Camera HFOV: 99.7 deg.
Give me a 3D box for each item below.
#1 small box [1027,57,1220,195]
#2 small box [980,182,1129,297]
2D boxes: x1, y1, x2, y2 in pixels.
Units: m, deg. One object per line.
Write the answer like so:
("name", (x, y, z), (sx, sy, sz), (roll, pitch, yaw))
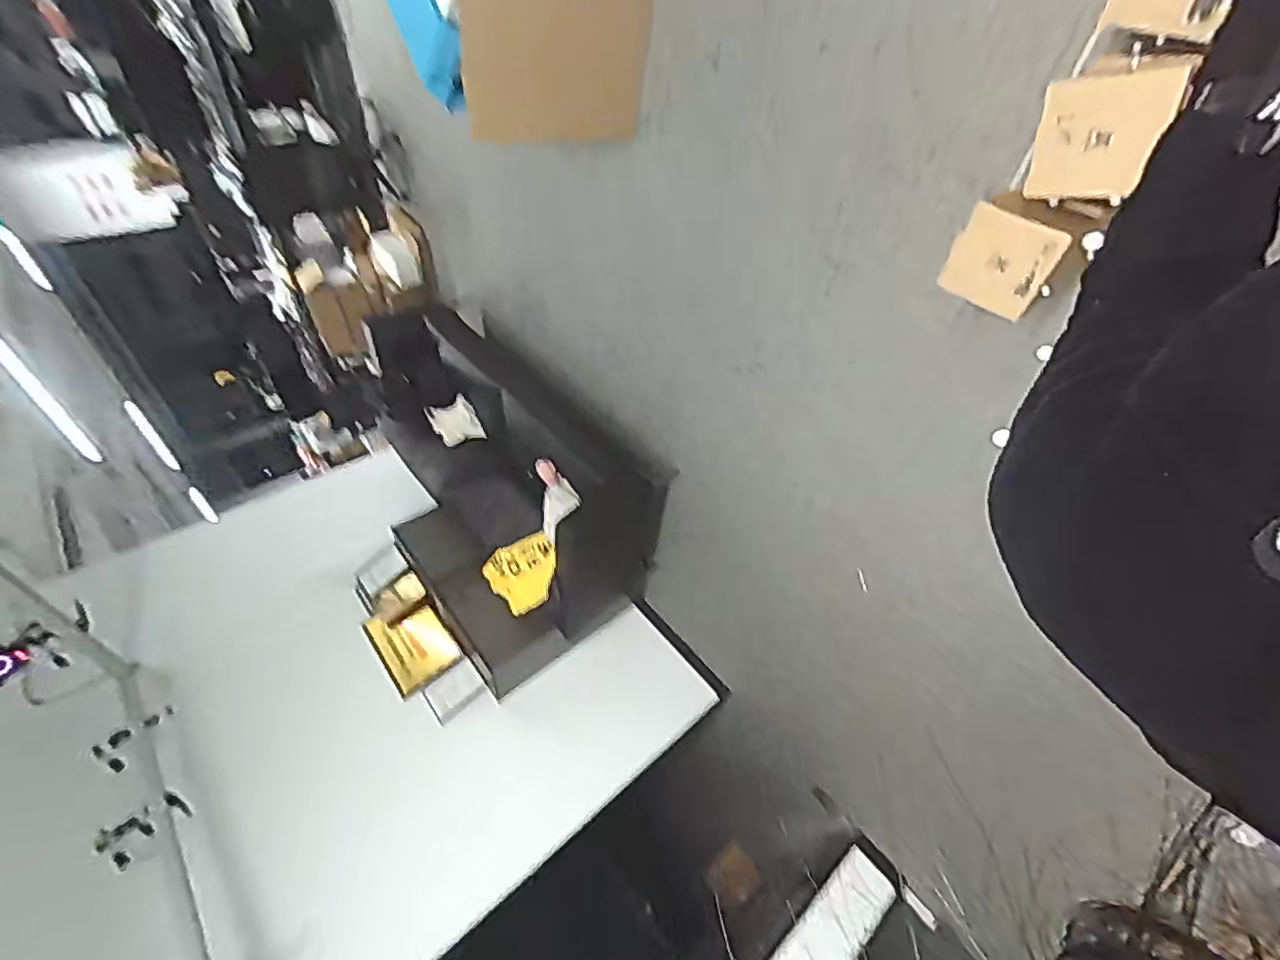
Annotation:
("small box", (0.780, -0.570, 0.879), (0.179, 0.176, 0.168), (29, 138, 43))
("small box", (0.863, -0.515, 1.125), (0.168, 0.176, 0.179), (43, 146, 30))
